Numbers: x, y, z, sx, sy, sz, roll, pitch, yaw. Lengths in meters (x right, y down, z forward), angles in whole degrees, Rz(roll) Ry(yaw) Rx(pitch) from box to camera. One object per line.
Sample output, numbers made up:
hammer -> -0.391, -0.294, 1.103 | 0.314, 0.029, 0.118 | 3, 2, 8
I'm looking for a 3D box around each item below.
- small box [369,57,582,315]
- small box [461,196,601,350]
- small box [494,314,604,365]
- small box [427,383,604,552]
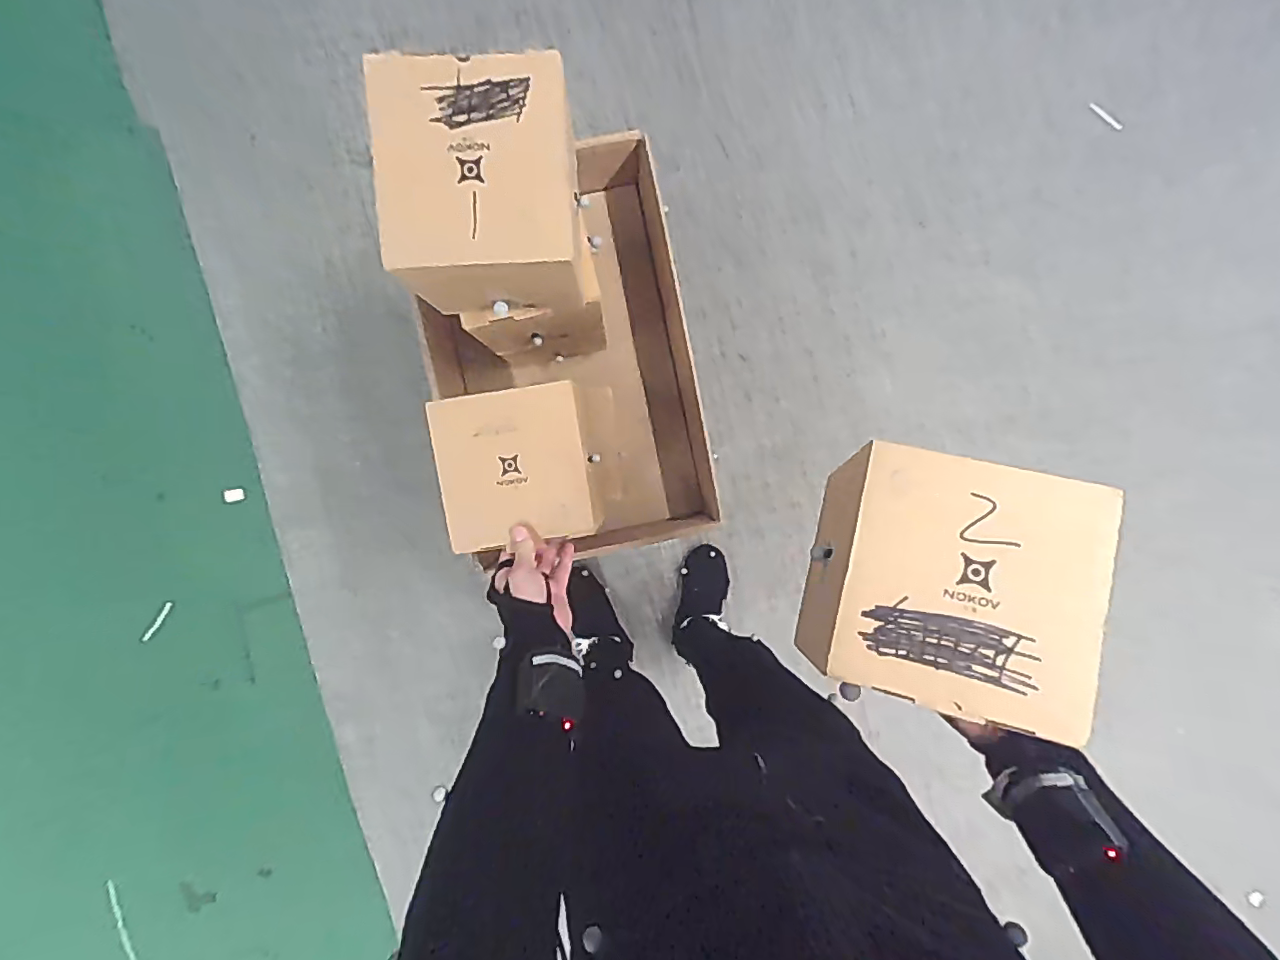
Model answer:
small box -> -0.147, -0.276, 0.542 | 0.168, 0.176, 0.179 | -3, 95, -3
small box -> -0.150, -0.283, 0.707 | 0.168, 0.176, 0.179 | -13, 95, -3
small box -> -0.155, -0.296, 0.867 | 0.168, 0.176, 0.179 | -12, 94, -1
small box -> -0.142, -0.020, 0.682 | 0.168, 0.176, 0.179 | -8, 95, 2
